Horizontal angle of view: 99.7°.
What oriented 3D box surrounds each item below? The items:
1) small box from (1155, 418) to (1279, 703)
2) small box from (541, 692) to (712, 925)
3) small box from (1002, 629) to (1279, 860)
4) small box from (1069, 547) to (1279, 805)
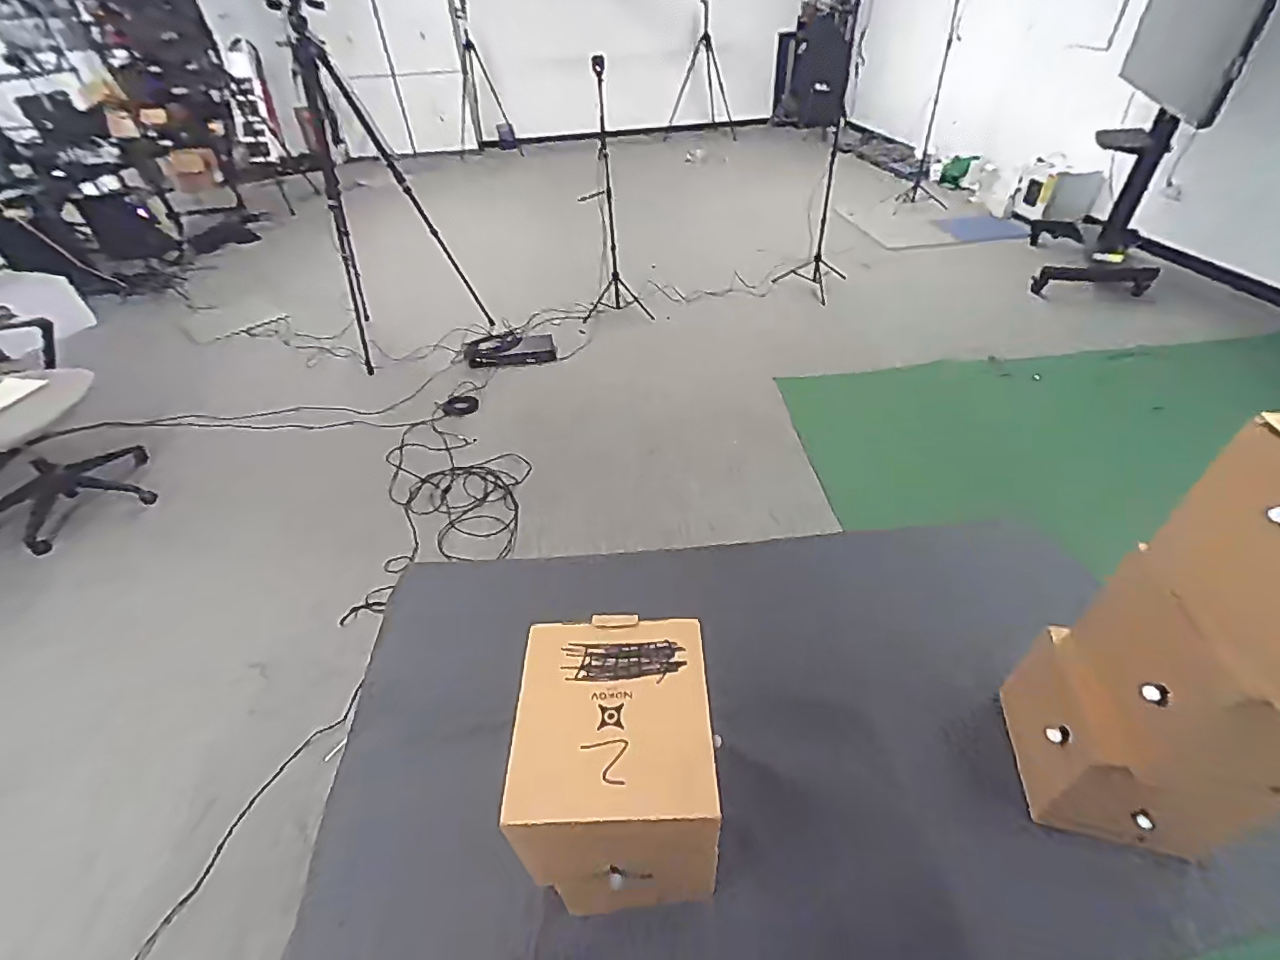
[{"bbox_3d":[0.572,0.069,0.416,0.168,0.176,0.179,0,40,5],"label":"small box"},{"bbox_3d":[-0.016,0.374,0.623,0.168,0.176,0.179,-6,40,-2],"label":"small box"},{"bbox_3d":[0.563,0.310,0.637,0.168,0.176,0.179,7,40,13],"label":"small box"},{"bbox_3d":[0.573,0.191,0.526,0.168,0.176,0.179,5,39,9],"label":"small box"}]
